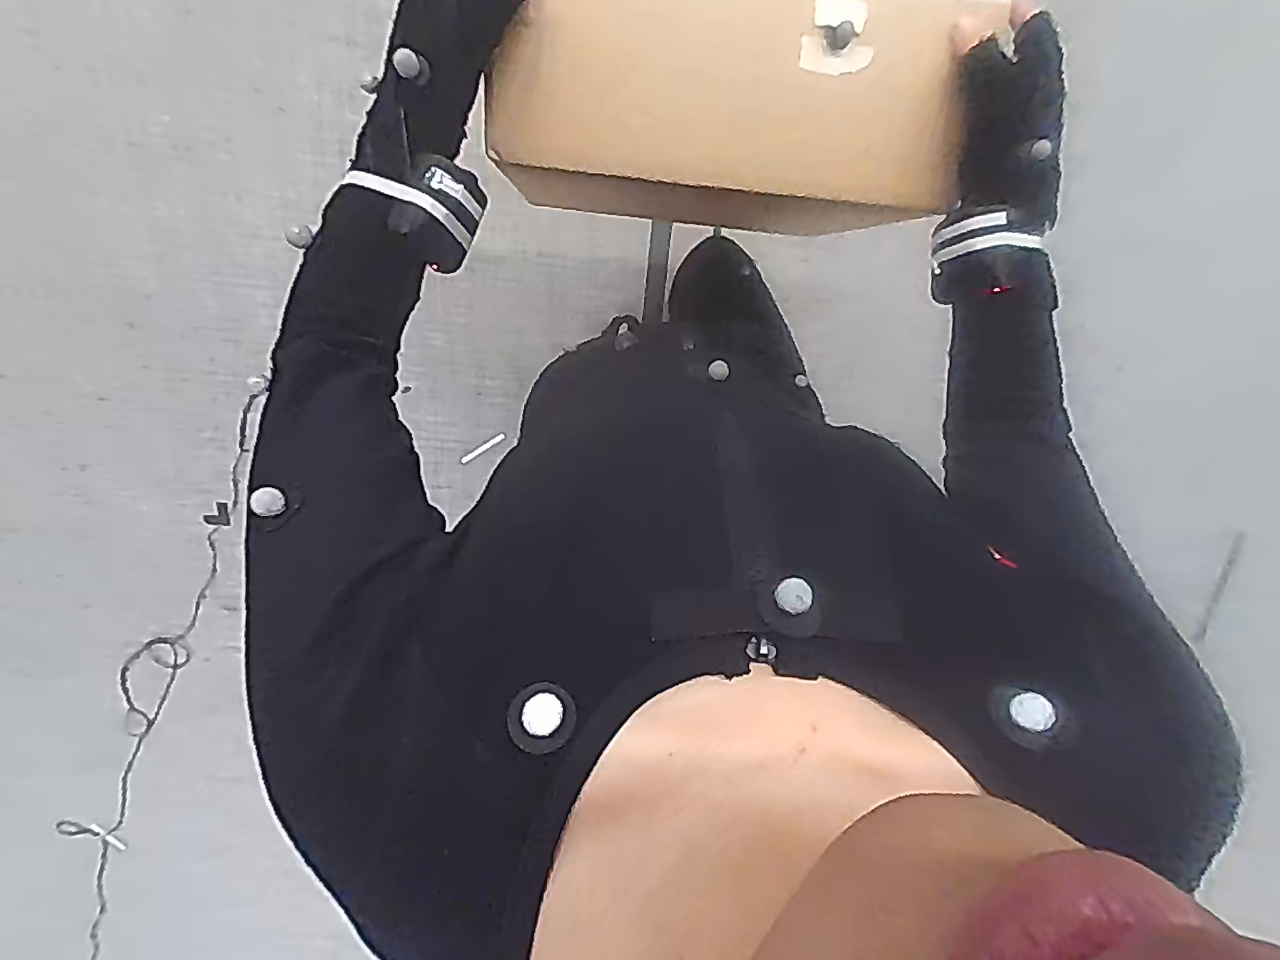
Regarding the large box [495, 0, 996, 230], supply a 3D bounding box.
[{"bbox_3d":[0.074,-0.450,0.549,0.408,0.320,0.320,2,111,-7],"label":"large box"}]
